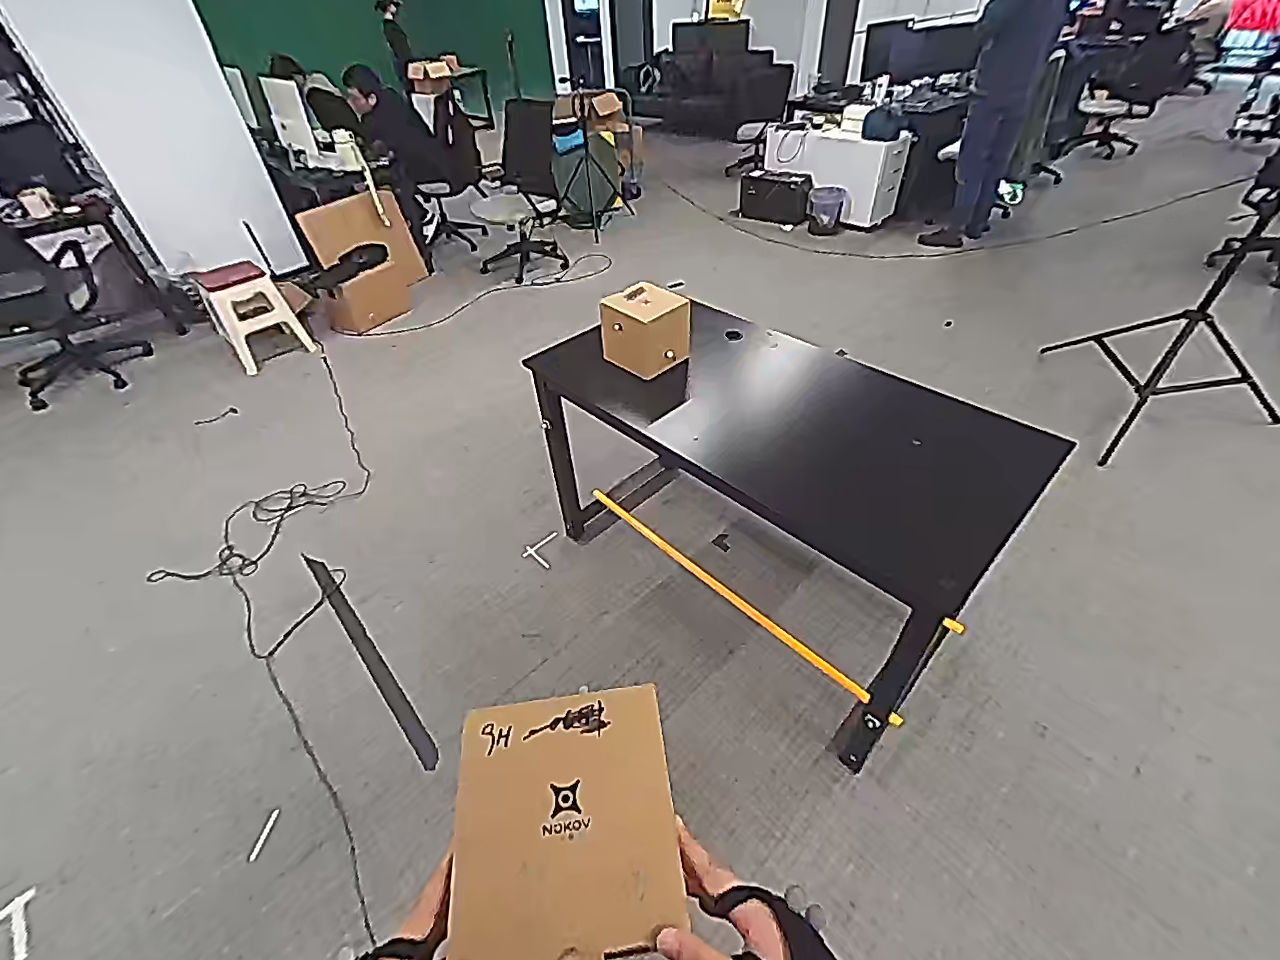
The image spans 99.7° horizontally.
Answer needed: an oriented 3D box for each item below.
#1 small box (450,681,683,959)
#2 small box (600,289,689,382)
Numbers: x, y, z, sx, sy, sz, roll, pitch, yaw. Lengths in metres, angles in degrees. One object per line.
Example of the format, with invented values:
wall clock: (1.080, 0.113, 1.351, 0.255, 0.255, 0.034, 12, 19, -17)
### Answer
small box: (-0.055, 0.303, 0.481, 0.168, 0.176, 0.179, -7, 50, -3)
small box: (0.012, -0.389, 1.460, 0.168, 0.176, 0.179, -35, 52, -30)
